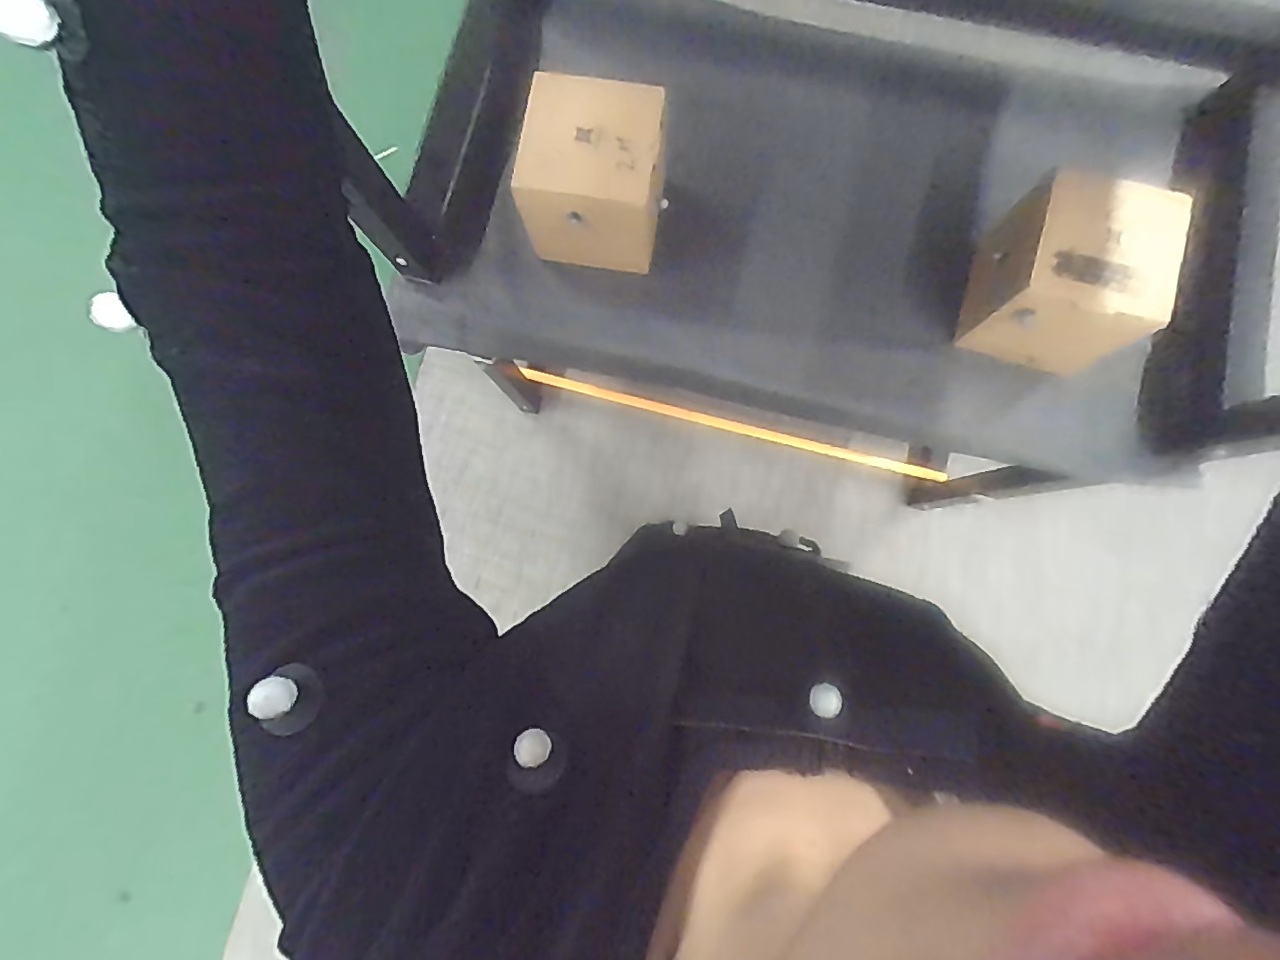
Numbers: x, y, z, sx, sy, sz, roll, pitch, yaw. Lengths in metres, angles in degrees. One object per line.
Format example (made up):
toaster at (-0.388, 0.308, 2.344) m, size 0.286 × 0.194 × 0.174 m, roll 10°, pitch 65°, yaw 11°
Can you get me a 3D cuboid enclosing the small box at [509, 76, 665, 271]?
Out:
small box at (-0.065, -0.419, 0.764) m, size 0.179 × 0.176 × 0.168 m, roll 10°, pitch 83°, yaw 2°
